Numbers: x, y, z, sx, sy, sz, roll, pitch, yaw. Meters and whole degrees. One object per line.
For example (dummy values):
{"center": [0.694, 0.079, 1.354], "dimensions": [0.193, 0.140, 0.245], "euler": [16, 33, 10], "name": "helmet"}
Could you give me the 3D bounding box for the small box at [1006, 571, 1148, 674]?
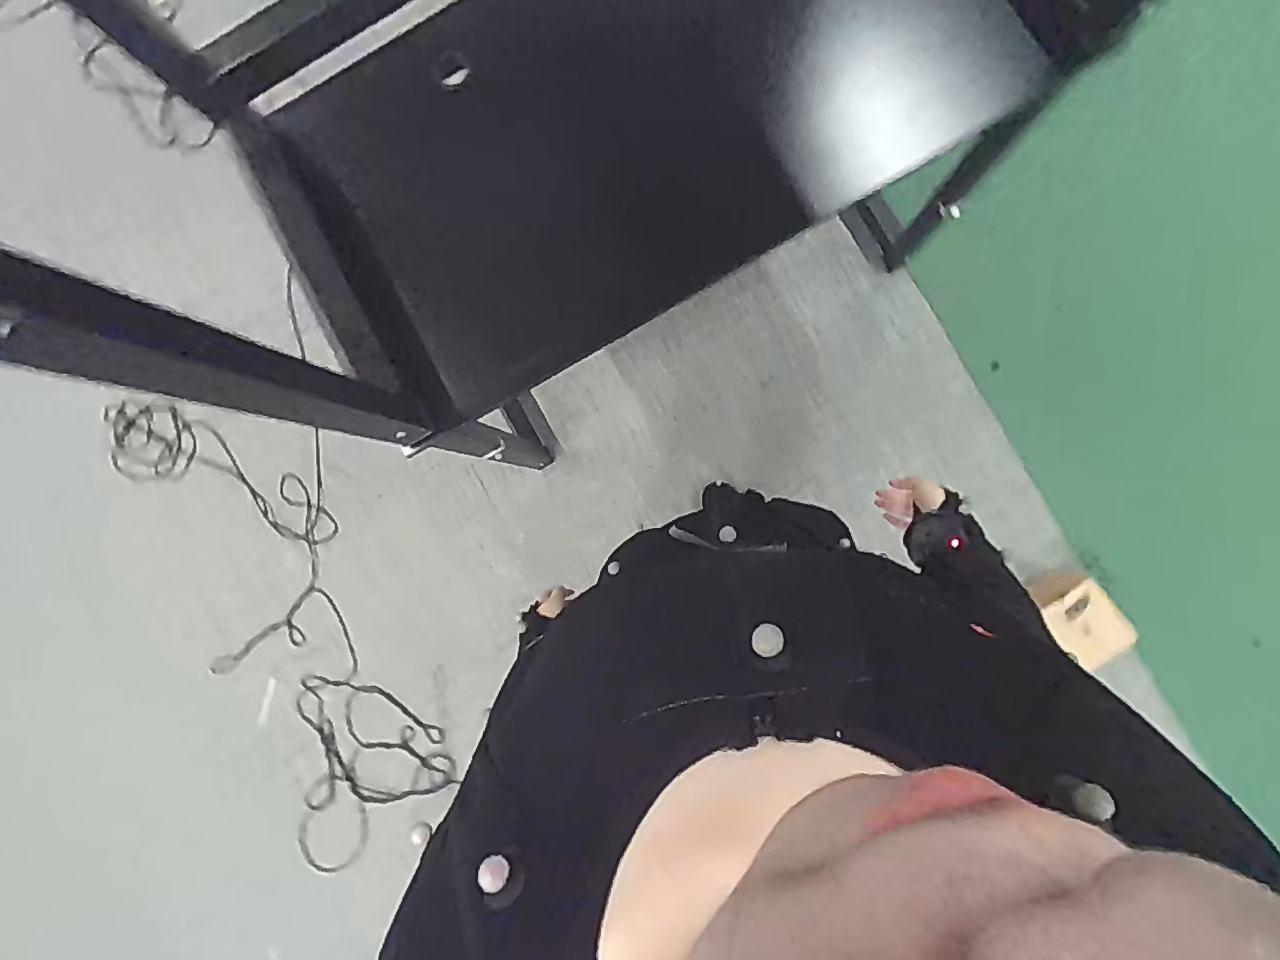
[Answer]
{"center": [1.055, 0.337, 1.326], "dimensions": [0.168, 0.176, 0.179], "euler": [-36, 86, 4], "name": "small box"}
